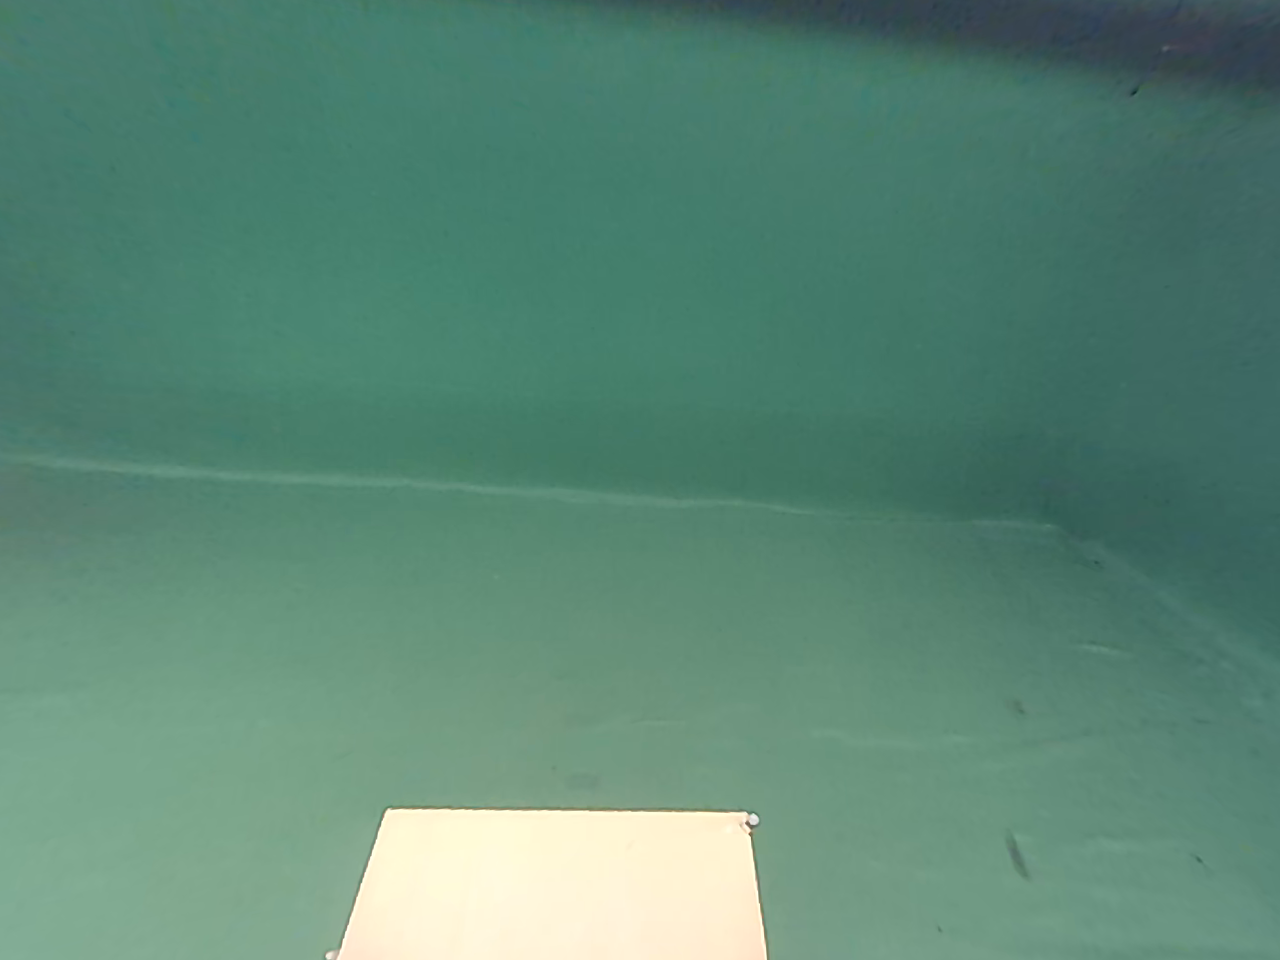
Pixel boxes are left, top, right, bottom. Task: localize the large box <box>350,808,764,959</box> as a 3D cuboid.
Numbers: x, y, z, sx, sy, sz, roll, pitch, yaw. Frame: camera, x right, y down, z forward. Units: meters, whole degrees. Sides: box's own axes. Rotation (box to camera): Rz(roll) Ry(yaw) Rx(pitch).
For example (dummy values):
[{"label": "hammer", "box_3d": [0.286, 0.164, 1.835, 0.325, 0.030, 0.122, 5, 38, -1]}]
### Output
[{"label": "large box", "box_3d": [-0.087, 0.589, 0.594, 0.408, 0.320, 0.320, 2, 41, -4]}]
